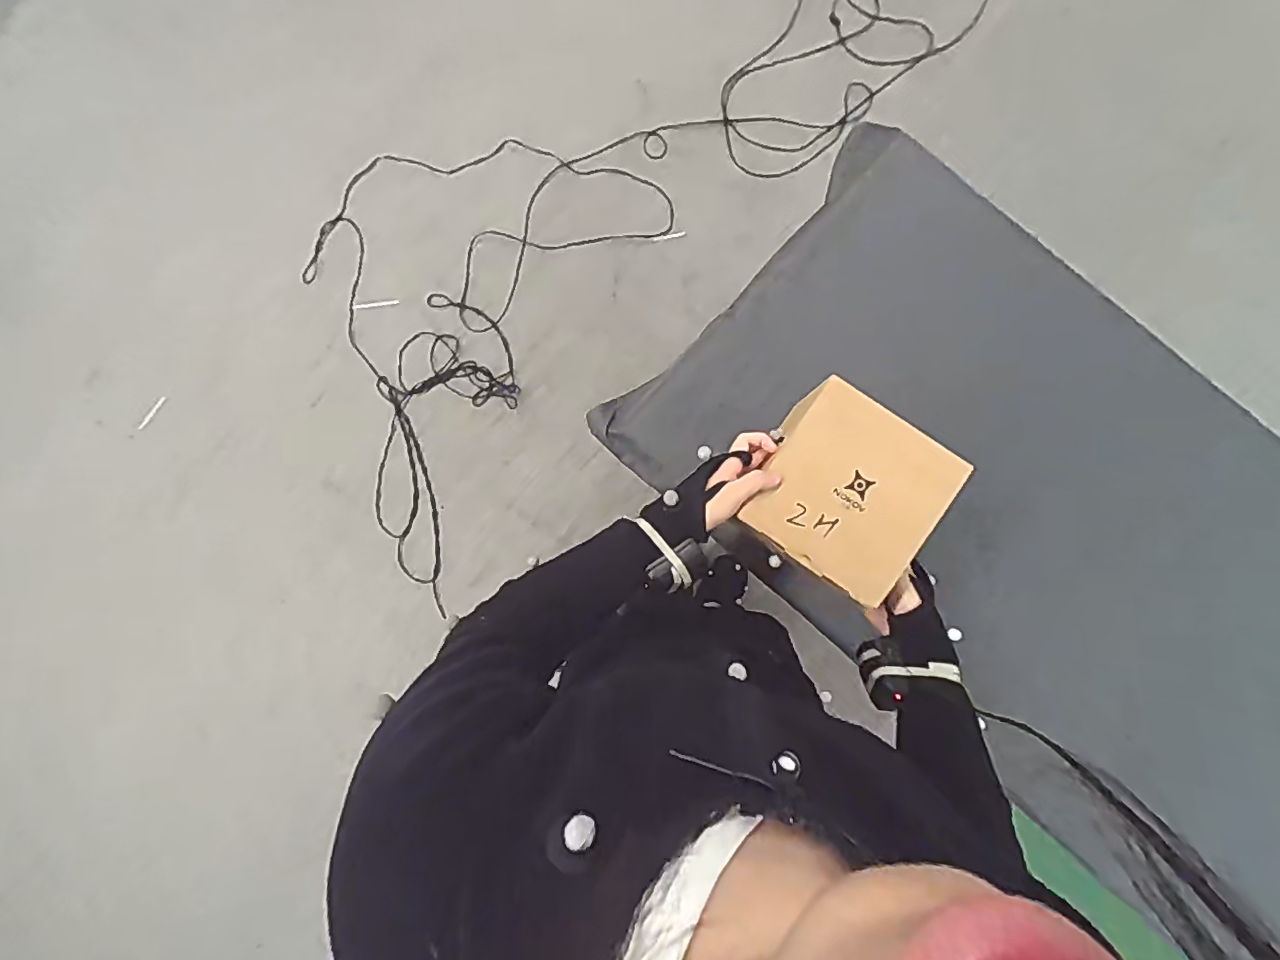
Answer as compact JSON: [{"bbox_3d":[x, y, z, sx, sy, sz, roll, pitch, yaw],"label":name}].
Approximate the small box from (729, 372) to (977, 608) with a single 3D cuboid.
[{"bbox_3d":[0.216,0.013,0.604,0.168,0.176,0.179,35,88,4],"label":"small box"}]
